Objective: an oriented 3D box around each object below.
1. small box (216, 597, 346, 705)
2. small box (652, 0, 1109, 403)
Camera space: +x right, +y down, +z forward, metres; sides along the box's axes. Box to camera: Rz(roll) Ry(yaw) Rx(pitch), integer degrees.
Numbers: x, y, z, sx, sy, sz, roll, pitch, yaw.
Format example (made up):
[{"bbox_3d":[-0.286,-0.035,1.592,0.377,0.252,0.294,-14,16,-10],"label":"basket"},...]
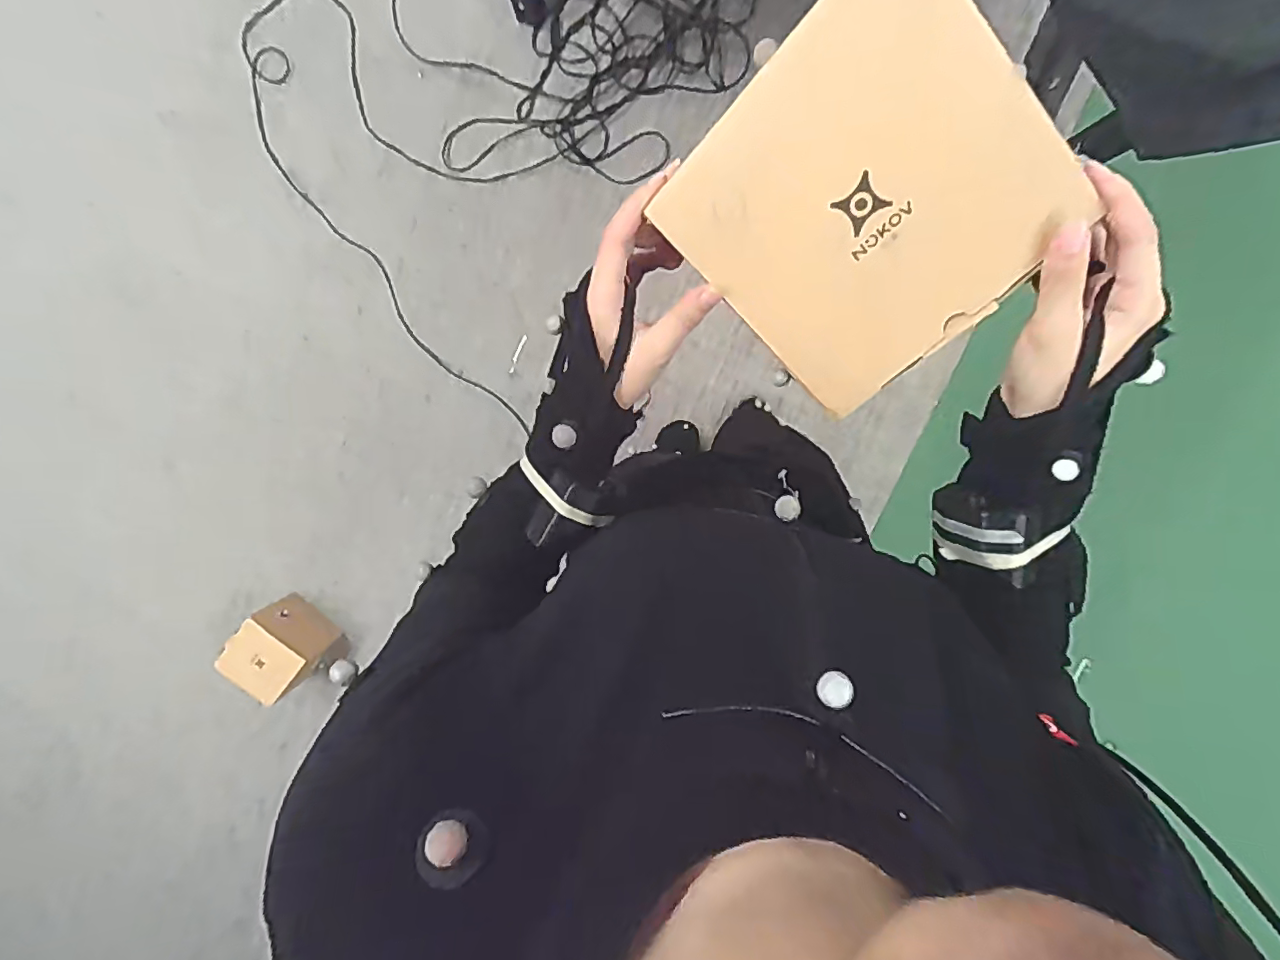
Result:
[{"bbox_3d":[-0.899,0.420,1.371,0.179,0.176,0.168,39,98,-5],"label":"small box"},{"bbox_3d":[0.129,-0.186,0.354,0.179,0.176,0.168,41,115,-15],"label":"small box"}]
